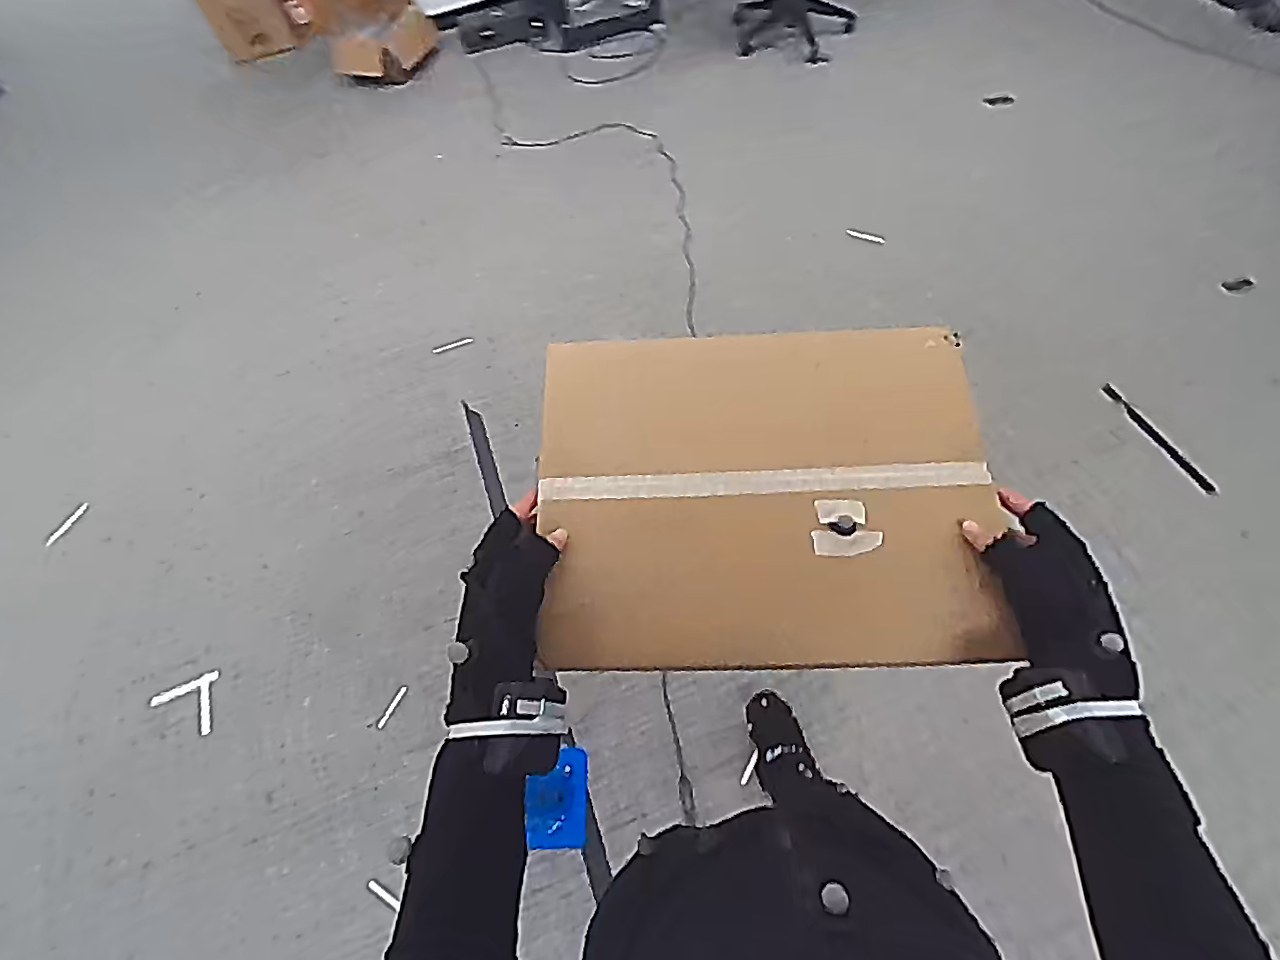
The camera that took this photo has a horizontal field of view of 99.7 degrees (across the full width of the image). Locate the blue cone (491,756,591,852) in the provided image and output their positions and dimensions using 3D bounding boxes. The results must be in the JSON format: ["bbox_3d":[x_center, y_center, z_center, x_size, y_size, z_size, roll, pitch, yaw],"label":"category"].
[{"bbox_3d":[-0.225,0.667,1.108,0.193,0.380,0.192,-3,61,5],"label":"blue cone"}]

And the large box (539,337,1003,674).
[{"bbox_3d":[0.109,0.059,0.649,0.408,0.320,0.320,-3,70,2],"label":"large box"}]
